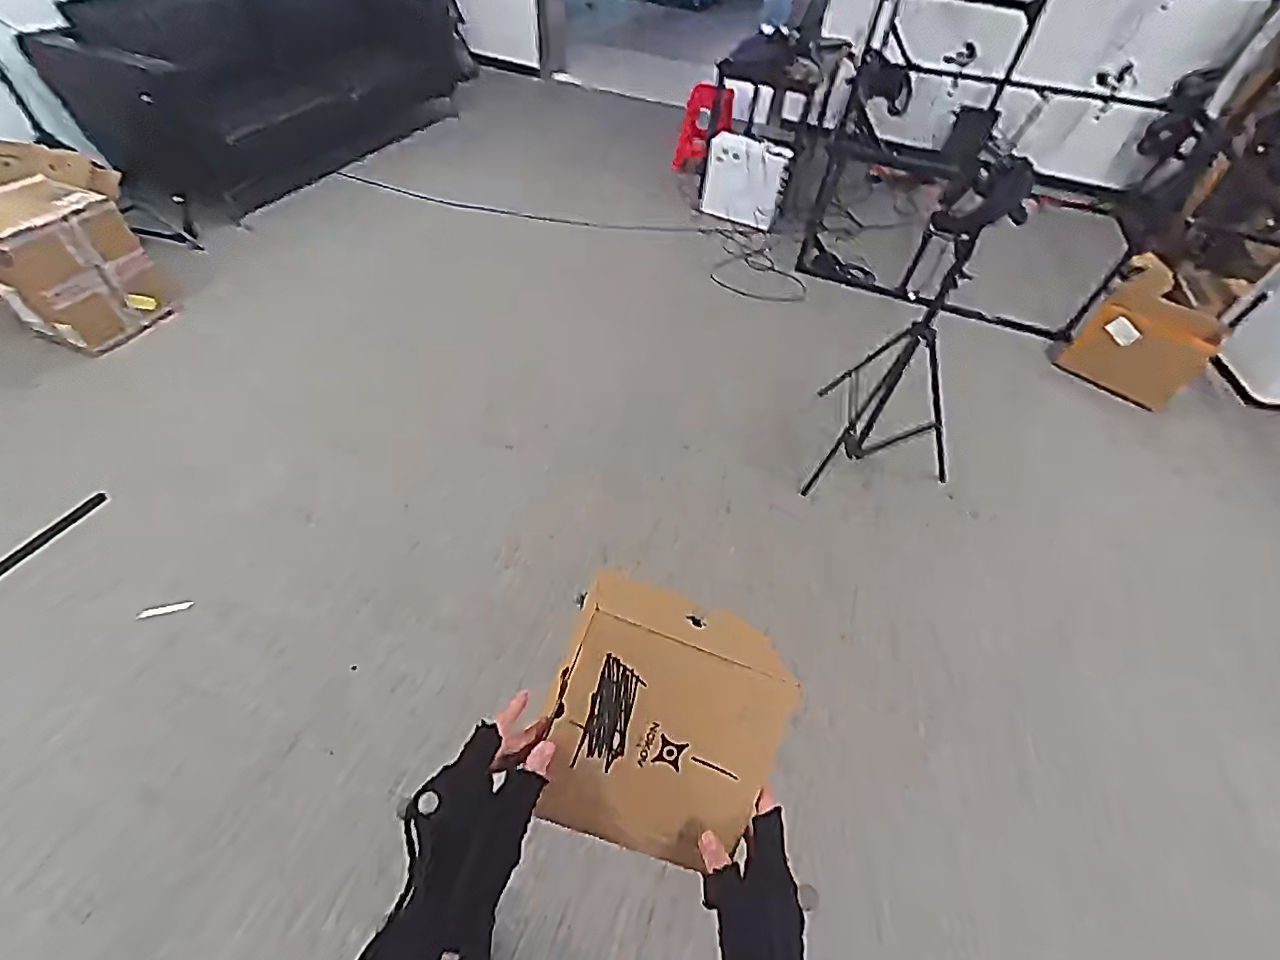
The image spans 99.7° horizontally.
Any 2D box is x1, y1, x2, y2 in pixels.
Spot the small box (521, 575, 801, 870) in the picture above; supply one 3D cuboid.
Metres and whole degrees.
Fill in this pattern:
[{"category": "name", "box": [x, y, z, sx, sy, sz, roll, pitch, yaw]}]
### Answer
[{"category": "small box", "box": [0.012, 0.197, 0.494, 0.179, 0.176, 0.168, 21, 90, -5]}]
